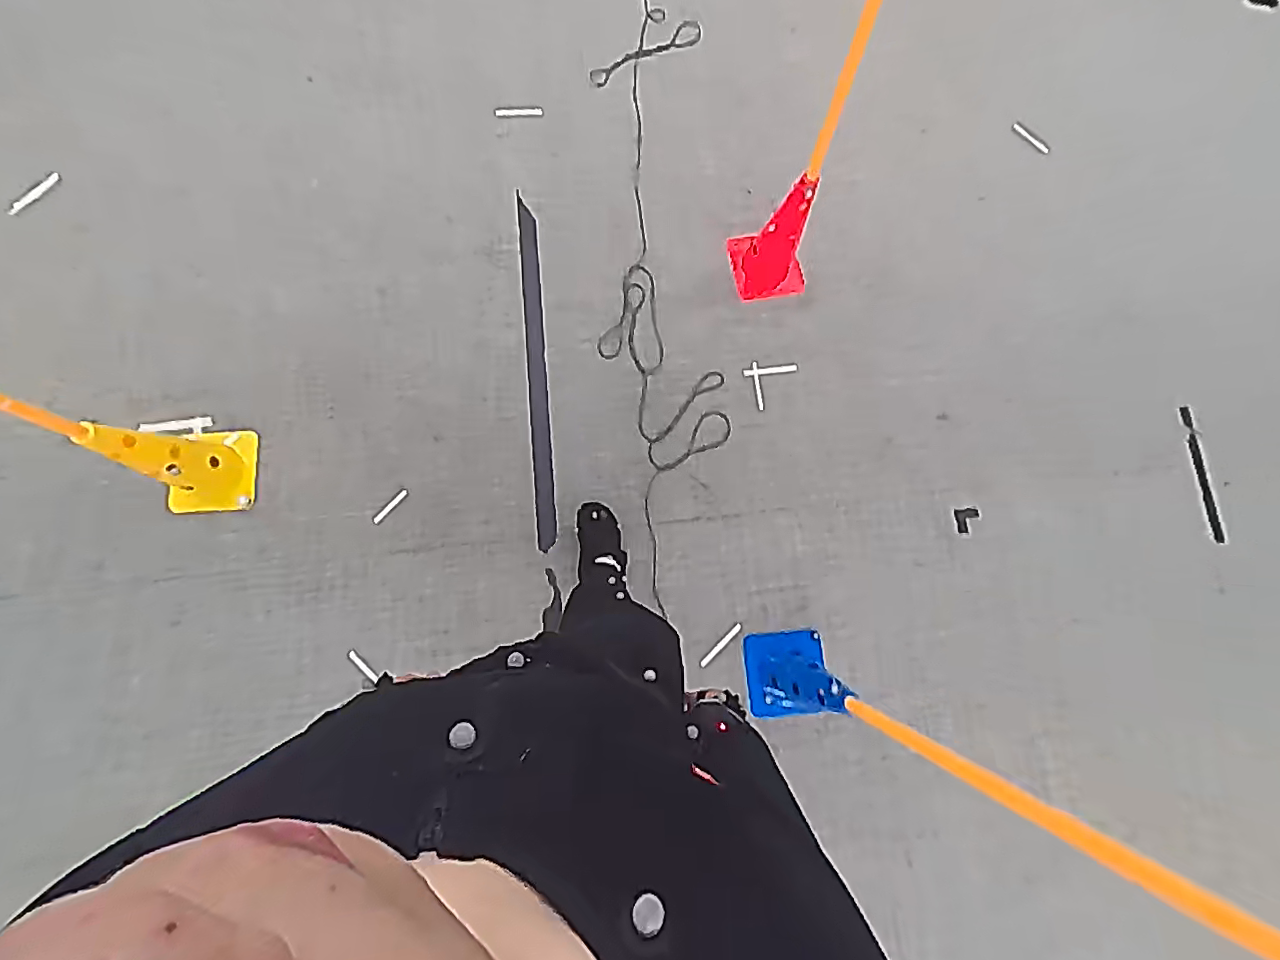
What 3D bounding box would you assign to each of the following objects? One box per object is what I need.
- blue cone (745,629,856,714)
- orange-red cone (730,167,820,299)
[{"bbox_3d":[0.374,0.440,1.181,0.193,0.380,0.192,-2,78,-5],"label":"blue cone"},{"bbox_3d":[0.377,-0.652,1.384,0.199,0.360,0.198,-10,79,-5],"label":"orange-red cone"}]
